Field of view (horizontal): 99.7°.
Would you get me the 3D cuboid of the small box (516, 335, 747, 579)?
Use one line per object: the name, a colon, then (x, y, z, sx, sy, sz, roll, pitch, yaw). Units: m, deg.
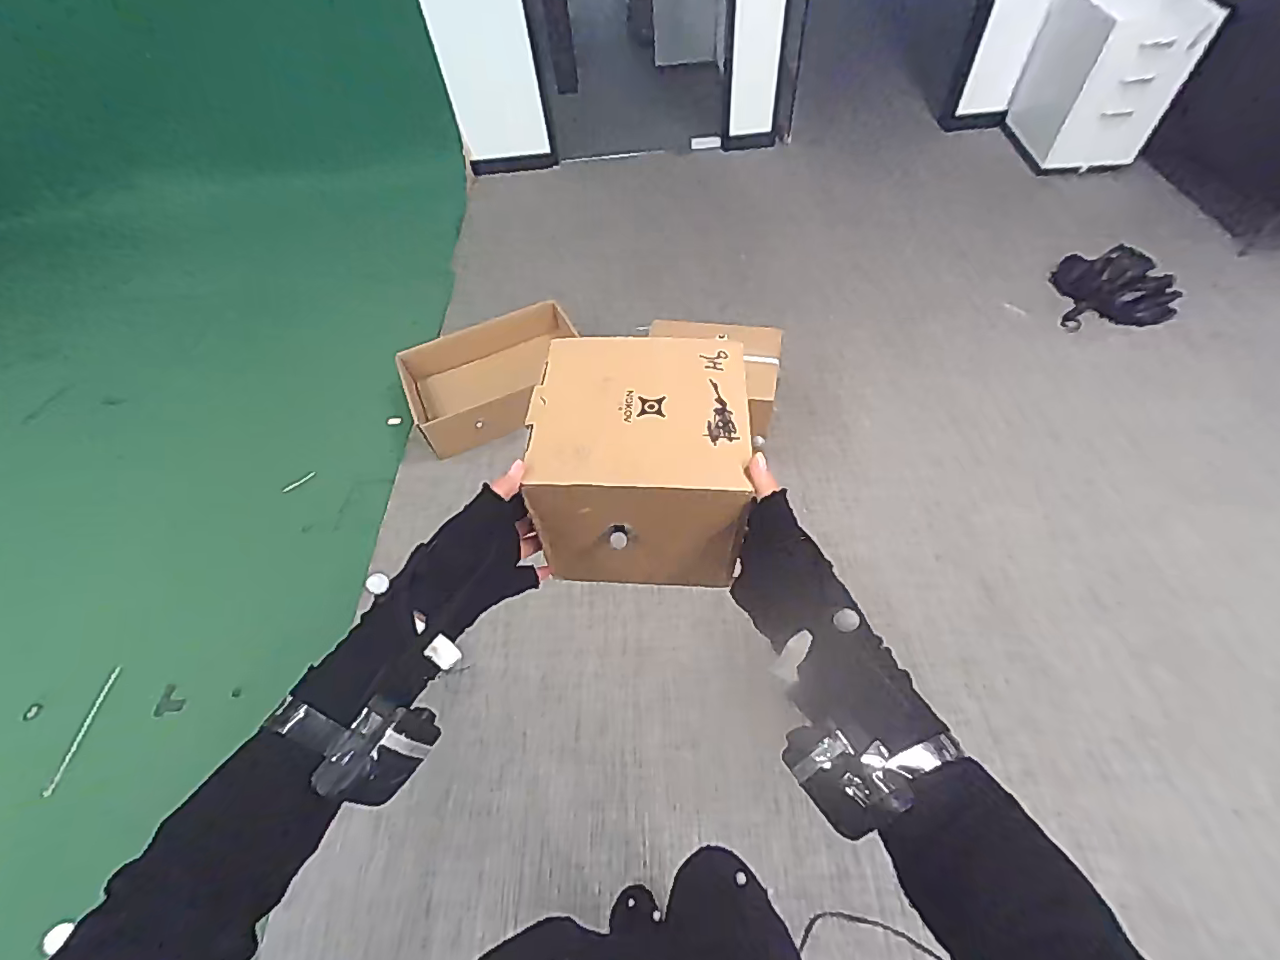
small box: (0.002, -0.016, 0.508, 0.179, 0.176, 0.168, 1, 55, 4)
